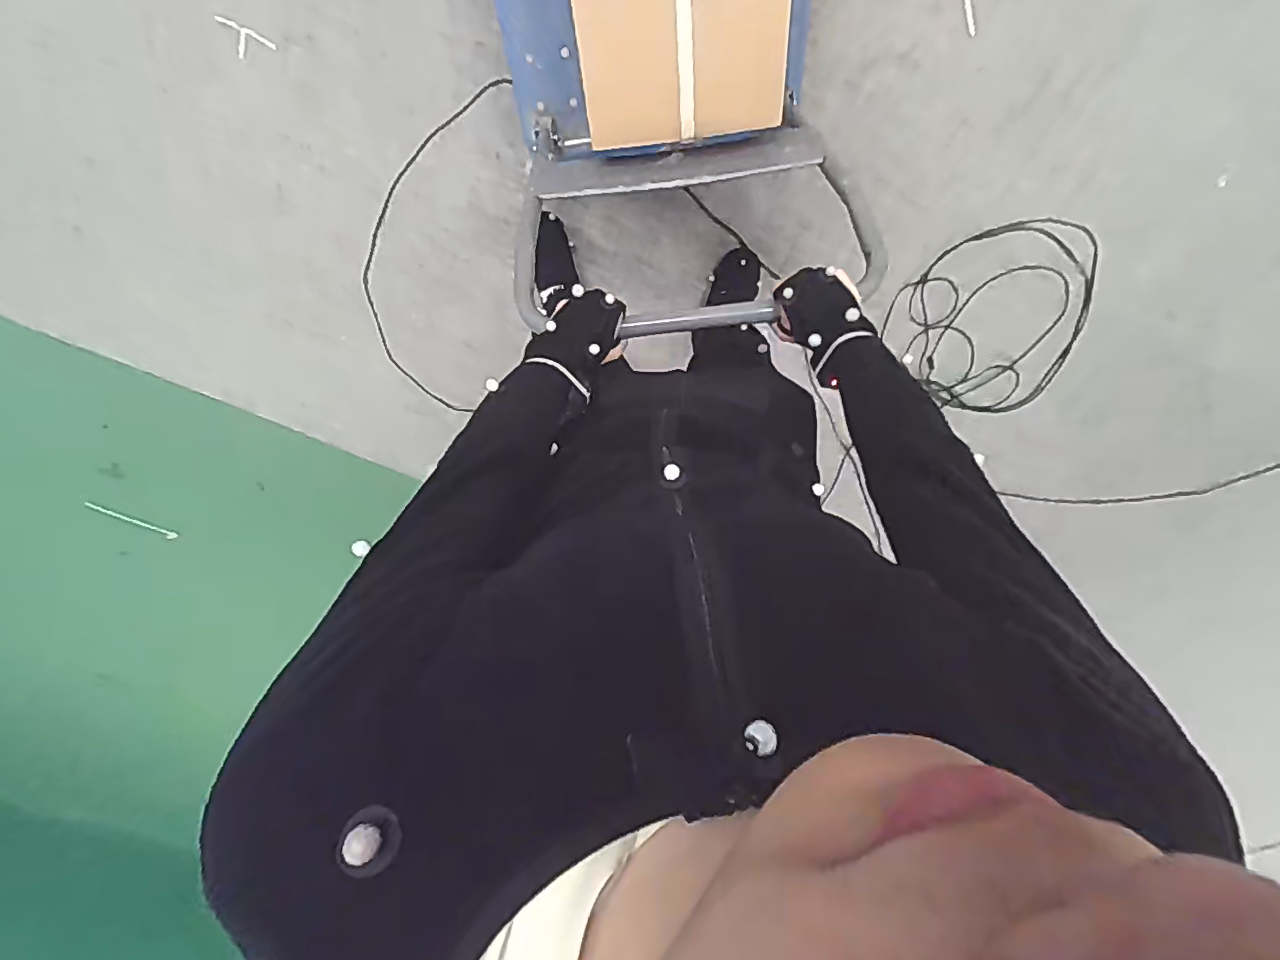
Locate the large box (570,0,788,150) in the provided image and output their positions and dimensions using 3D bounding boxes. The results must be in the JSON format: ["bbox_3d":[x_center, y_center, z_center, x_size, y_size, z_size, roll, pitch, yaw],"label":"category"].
[{"bbox_3d":[0.049,-0.808,0.856,0.320,0.320,0.408,-7,135,3],"label":"large box"}]
